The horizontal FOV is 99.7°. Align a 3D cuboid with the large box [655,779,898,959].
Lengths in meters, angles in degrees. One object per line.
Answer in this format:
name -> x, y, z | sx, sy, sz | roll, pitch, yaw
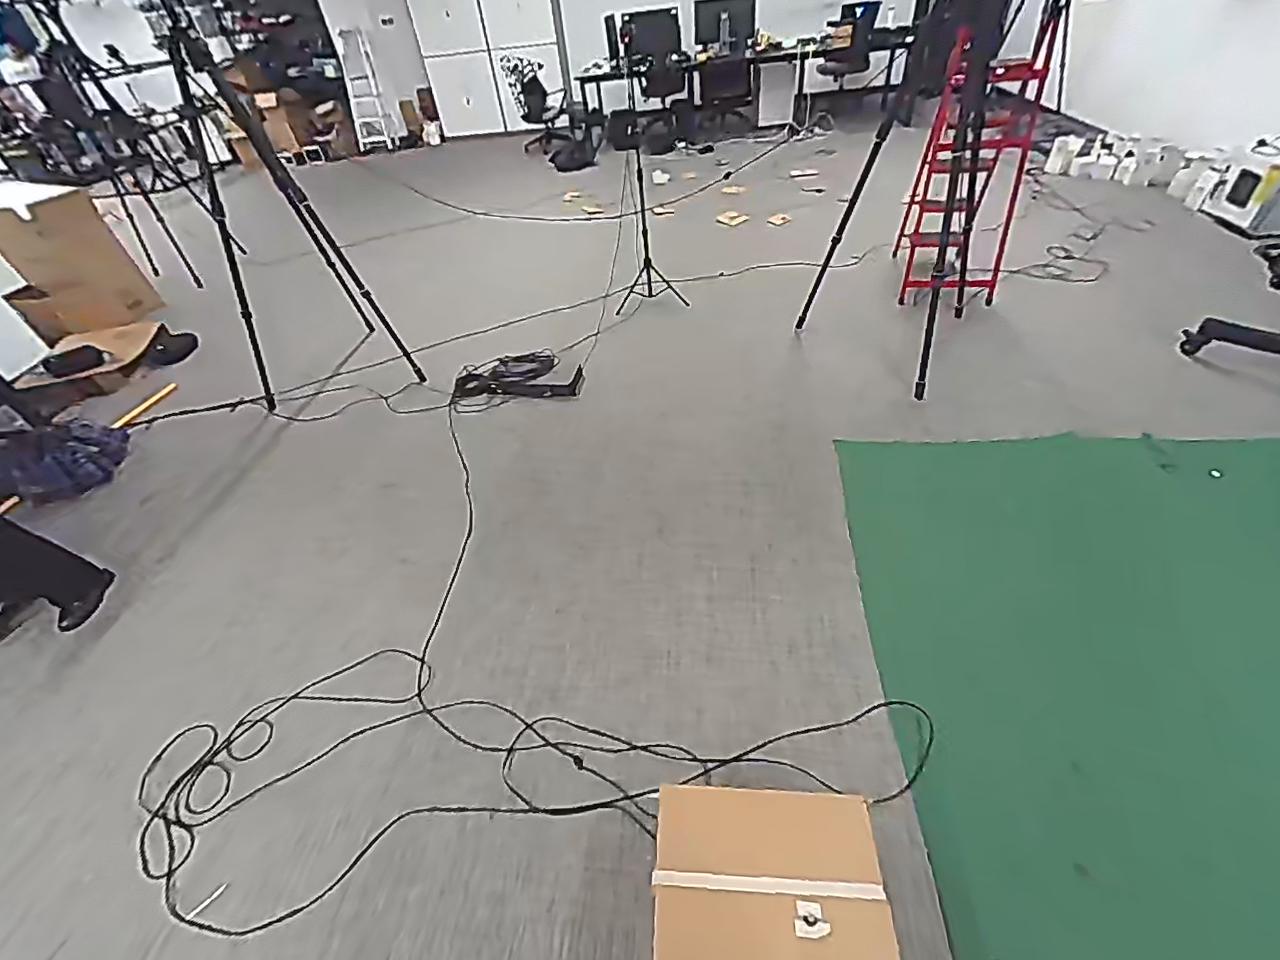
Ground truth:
large box -> 0.237, 0.820, 1.071 | 0.408, 0.320, 0.320 | 0, 44, 5
